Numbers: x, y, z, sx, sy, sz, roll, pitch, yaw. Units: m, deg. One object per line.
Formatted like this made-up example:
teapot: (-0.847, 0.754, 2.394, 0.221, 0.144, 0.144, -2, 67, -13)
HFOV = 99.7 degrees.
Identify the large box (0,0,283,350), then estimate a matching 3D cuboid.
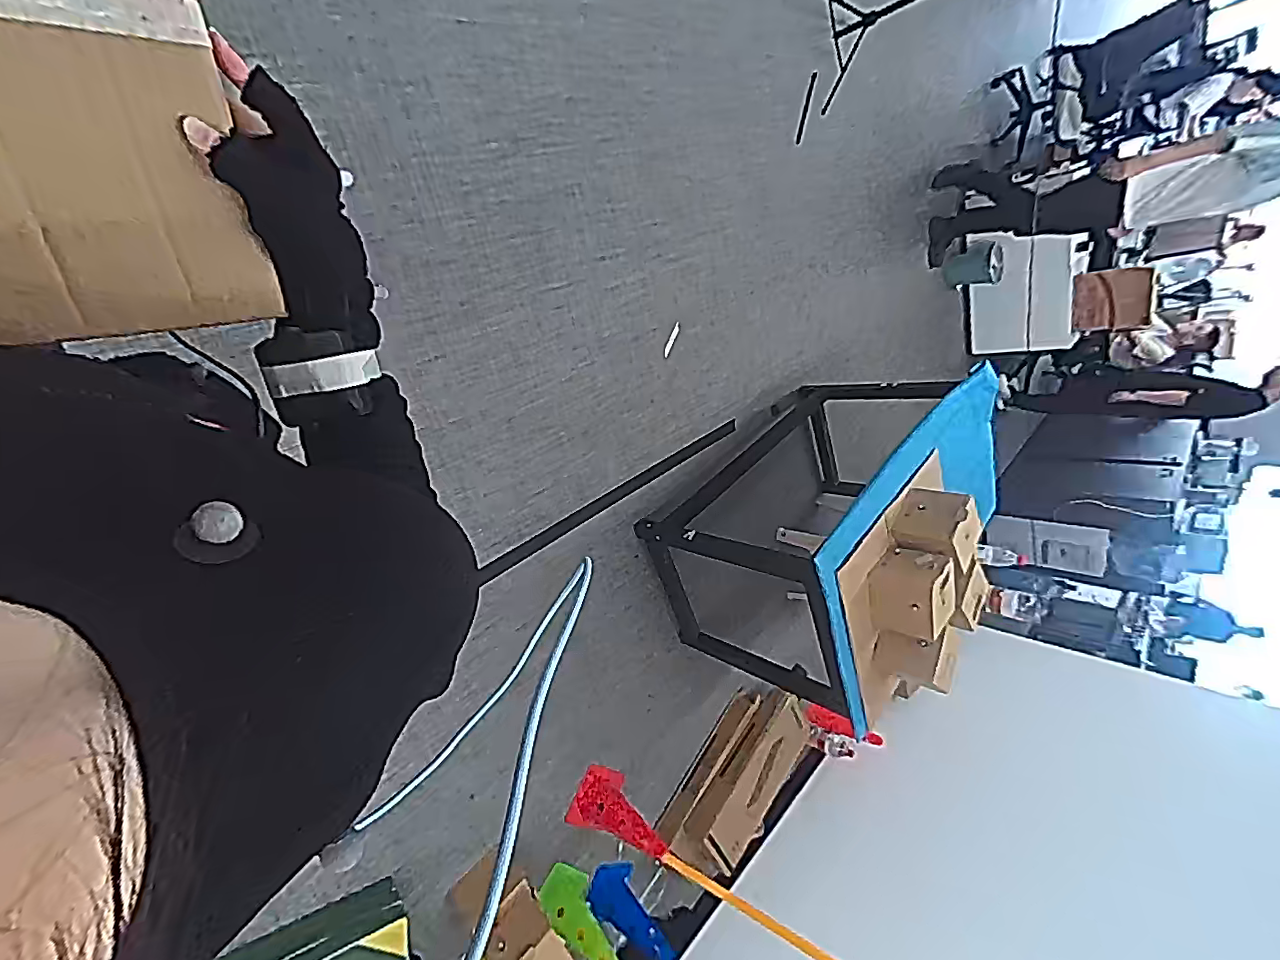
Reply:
large box: (-0.499, -0.237, 0.295, 0.408, 0.320, 0.320, -22, 124, -36)
